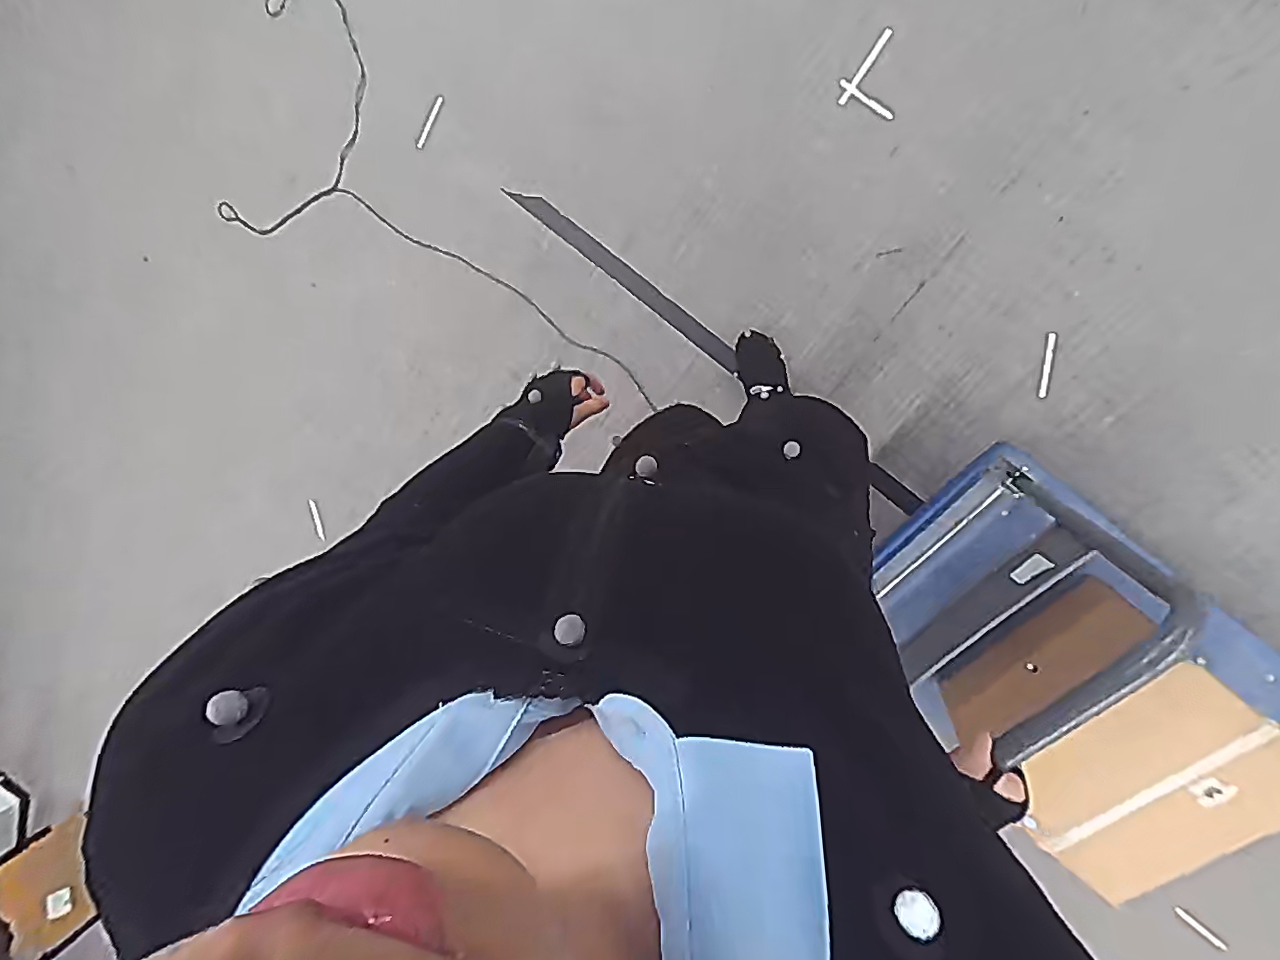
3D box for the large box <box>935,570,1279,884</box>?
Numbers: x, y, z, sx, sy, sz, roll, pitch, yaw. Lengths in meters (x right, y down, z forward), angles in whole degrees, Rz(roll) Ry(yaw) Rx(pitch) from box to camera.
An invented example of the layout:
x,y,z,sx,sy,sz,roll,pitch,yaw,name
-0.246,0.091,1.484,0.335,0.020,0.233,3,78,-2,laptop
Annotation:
x,y,z,sx,sy,sz,roll,pitch,yaw,name
0.875,0.457,1.056,0.320,0.320,0.408,41,111,3,large box
